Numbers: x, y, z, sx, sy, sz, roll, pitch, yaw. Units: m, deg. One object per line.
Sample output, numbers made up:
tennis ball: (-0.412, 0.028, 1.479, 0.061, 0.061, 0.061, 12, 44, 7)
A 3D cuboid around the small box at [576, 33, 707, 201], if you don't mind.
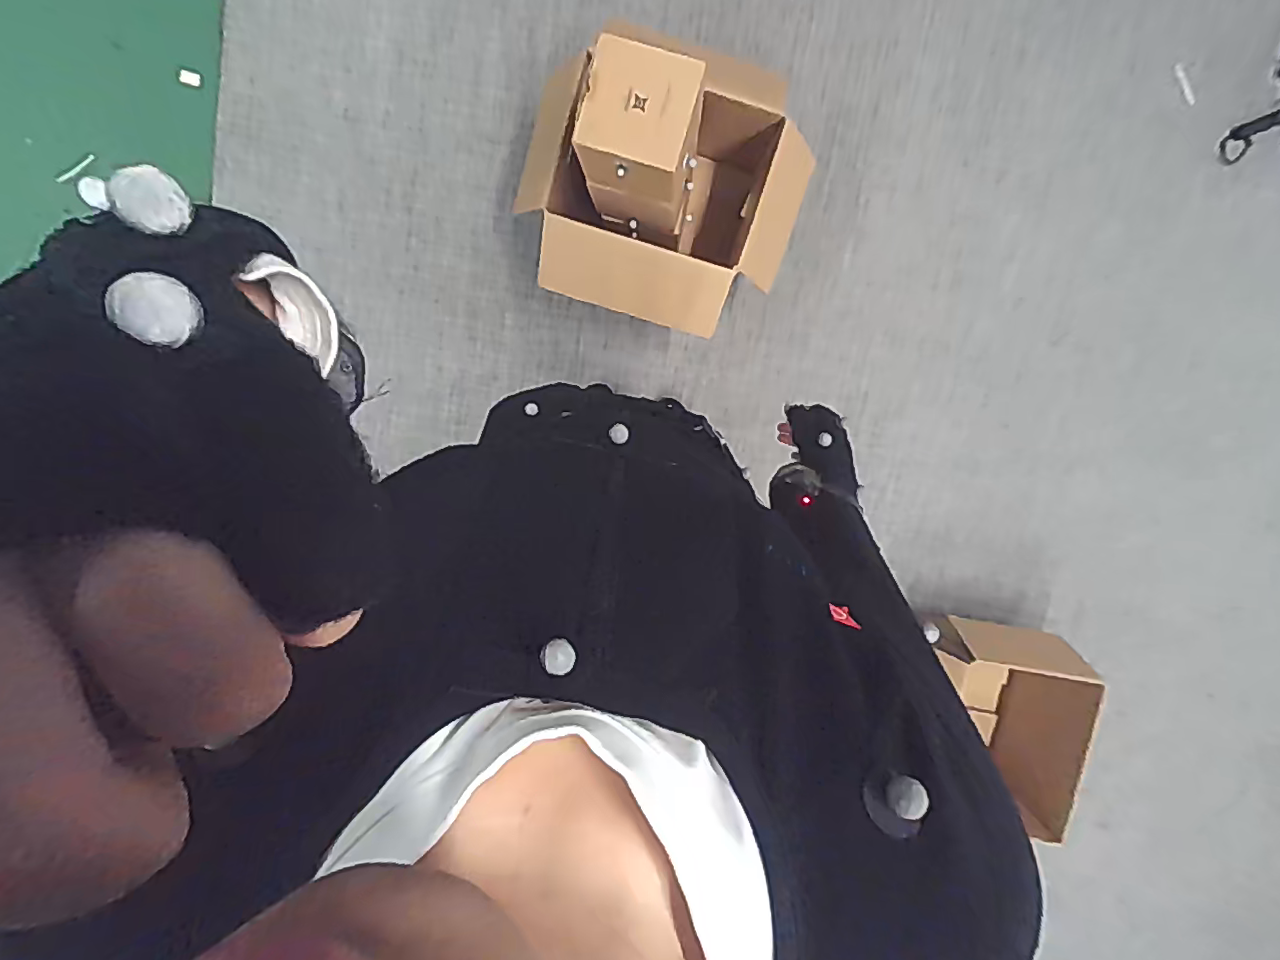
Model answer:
small box: (0.005, -0.608, 0.931, 0.179, 0.176, 0.168, 16, 100, 0)
